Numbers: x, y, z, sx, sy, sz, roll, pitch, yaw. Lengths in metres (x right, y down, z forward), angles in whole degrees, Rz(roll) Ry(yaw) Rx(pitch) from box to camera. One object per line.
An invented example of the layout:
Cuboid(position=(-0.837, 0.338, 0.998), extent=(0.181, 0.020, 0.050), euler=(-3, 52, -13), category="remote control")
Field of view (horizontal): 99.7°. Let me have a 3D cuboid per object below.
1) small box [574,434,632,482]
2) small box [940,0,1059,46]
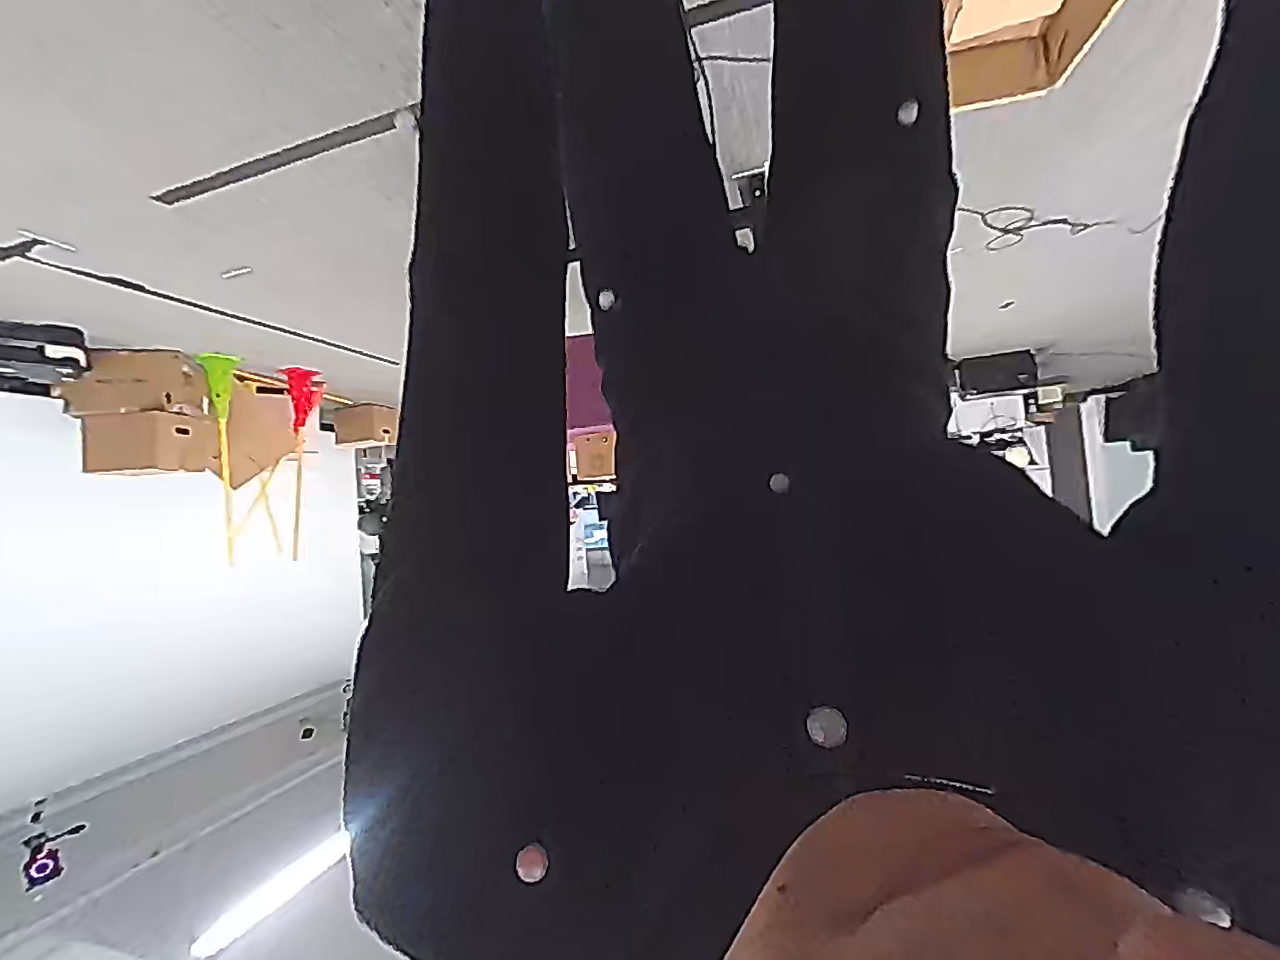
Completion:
Cuboid(position=(-0.144, -0.084, 2.092), extent=(0.168, 0.176, 0.179), euler=(-6, 178, 23), category="small box")
Cuboid(position=(0.606, -0.884, 0.892), extent=(0.179, 0.176, 0.168), euler=(-5, 179, 17), category="small box")
